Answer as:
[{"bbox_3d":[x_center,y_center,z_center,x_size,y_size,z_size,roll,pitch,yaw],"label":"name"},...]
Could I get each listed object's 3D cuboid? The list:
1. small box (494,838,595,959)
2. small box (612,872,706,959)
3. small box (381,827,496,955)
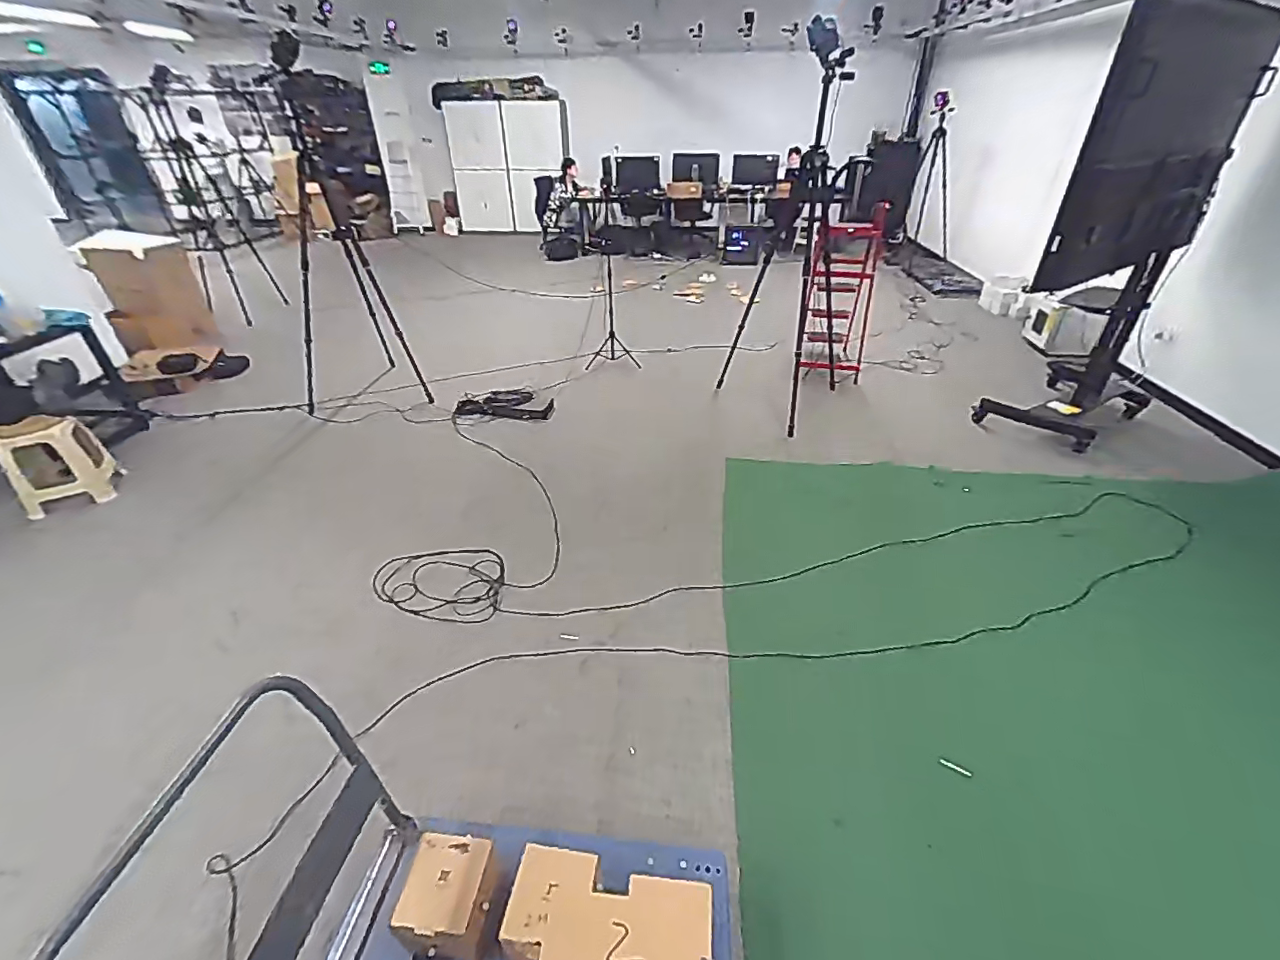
[{"bbox_3d":[-0.195,0.920,1.167,0.168,0.176,0.179,5,35,8],"label":"small box"},{"bbox_3d":[0.044,0.951,1.120,0.179,0.176,0.168,4,35,7],"label":"small box"},{"bbox_3d":[-0.430,0.905,1.190,0.168,0.176,0.179,4,35,6],"label":"small box"}]
